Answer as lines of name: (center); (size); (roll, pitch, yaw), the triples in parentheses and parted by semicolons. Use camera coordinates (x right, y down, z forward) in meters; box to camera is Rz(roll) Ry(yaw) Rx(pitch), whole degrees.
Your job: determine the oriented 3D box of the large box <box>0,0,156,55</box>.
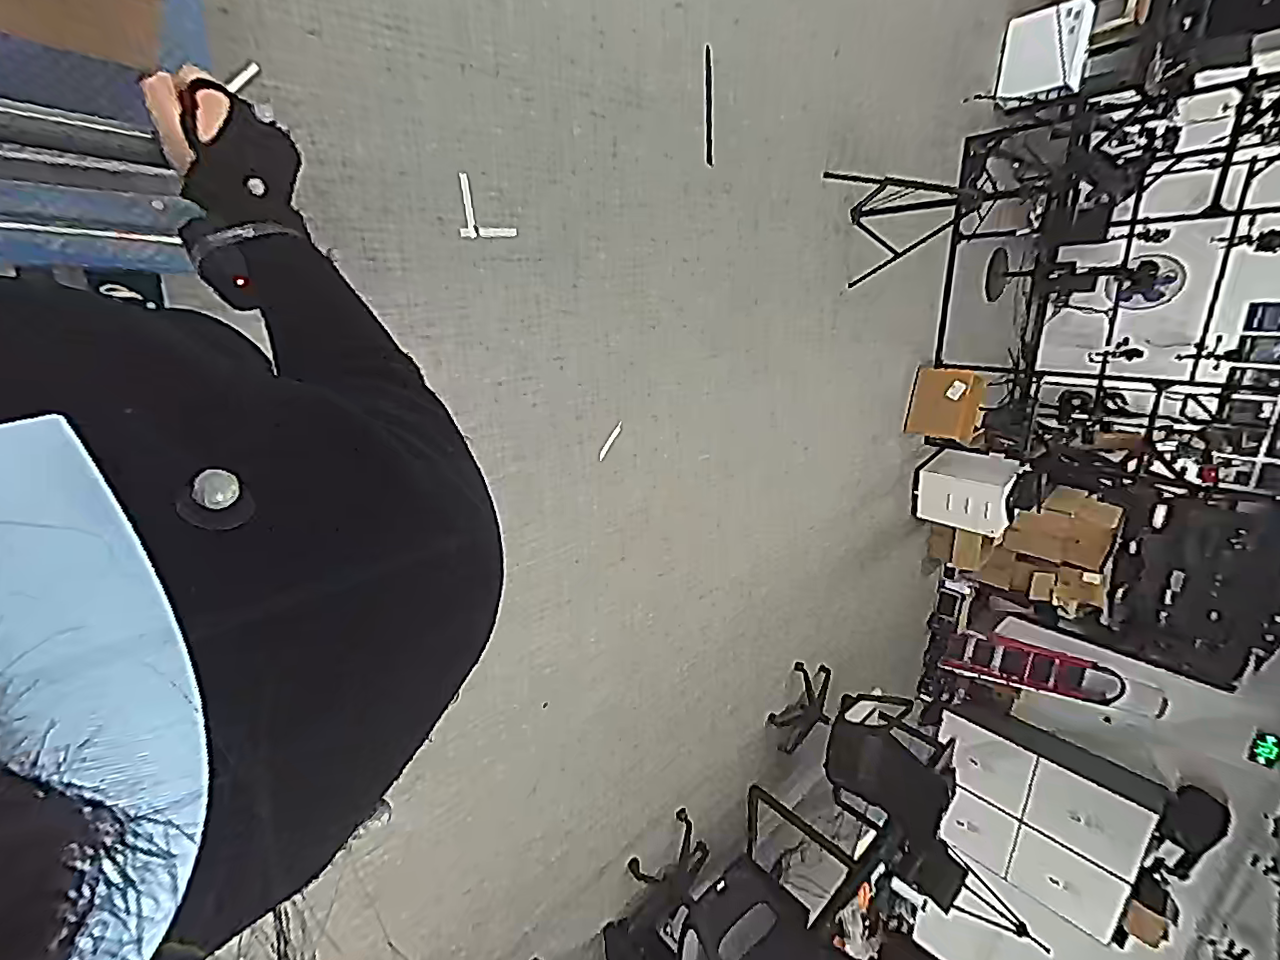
large box: (-0.860, -0.778, 0.626); (0.408, 0.320, 0.320); (-12, 110, -40)
